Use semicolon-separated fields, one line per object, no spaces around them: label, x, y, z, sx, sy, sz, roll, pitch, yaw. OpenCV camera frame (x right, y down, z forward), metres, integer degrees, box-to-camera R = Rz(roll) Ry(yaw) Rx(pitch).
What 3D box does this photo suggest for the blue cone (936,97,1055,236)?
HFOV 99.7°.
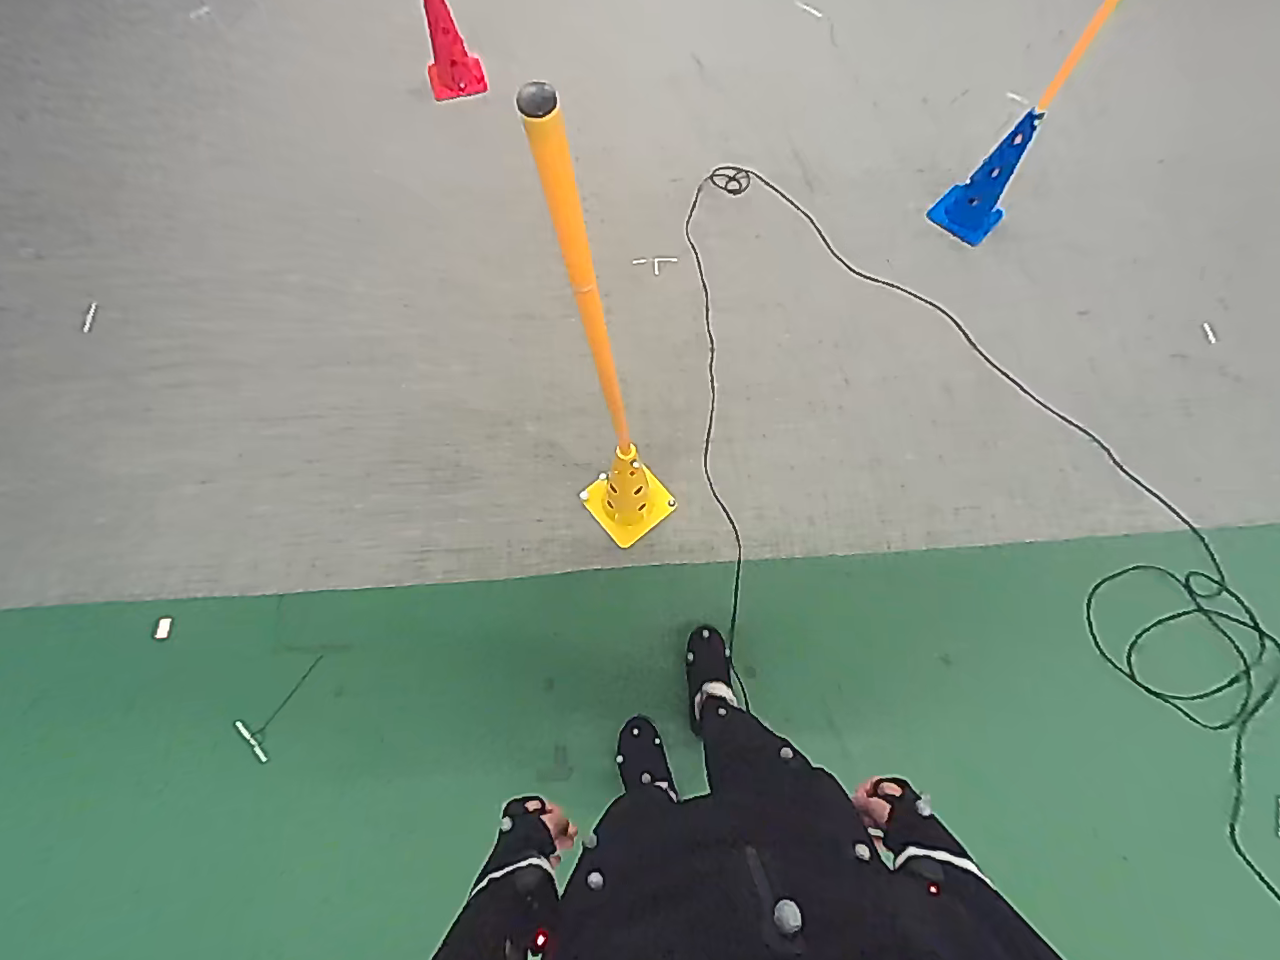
blue cone;1.096;-0.962;1.639;0.192;0.380;0.193;39;73;13
